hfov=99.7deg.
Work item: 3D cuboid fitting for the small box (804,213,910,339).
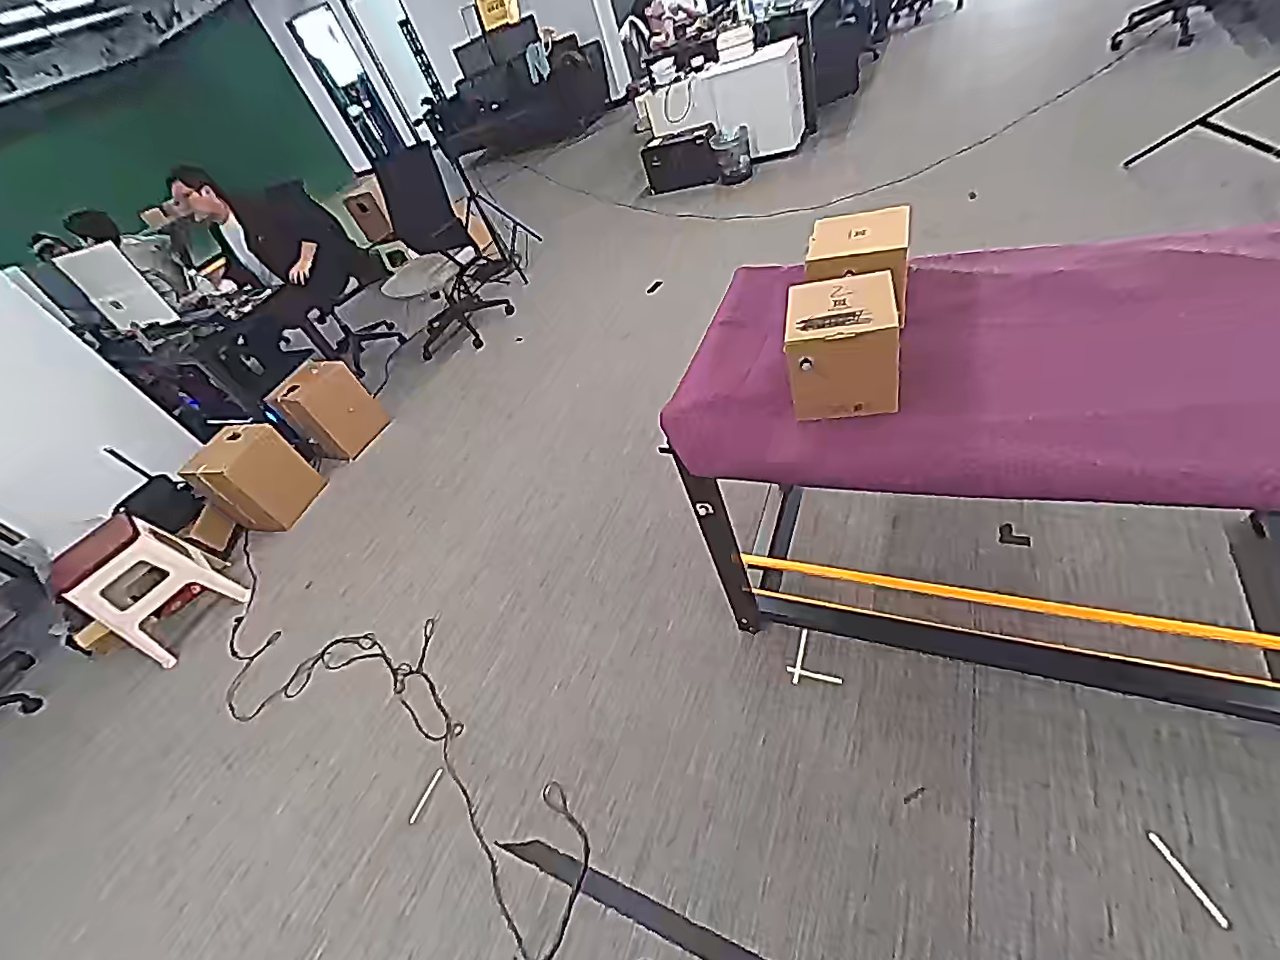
[{"bbox_3d":[0.432,-0.397,1.072,0.179,0.176,0.168,2,49,26],"label":"small box"}]
